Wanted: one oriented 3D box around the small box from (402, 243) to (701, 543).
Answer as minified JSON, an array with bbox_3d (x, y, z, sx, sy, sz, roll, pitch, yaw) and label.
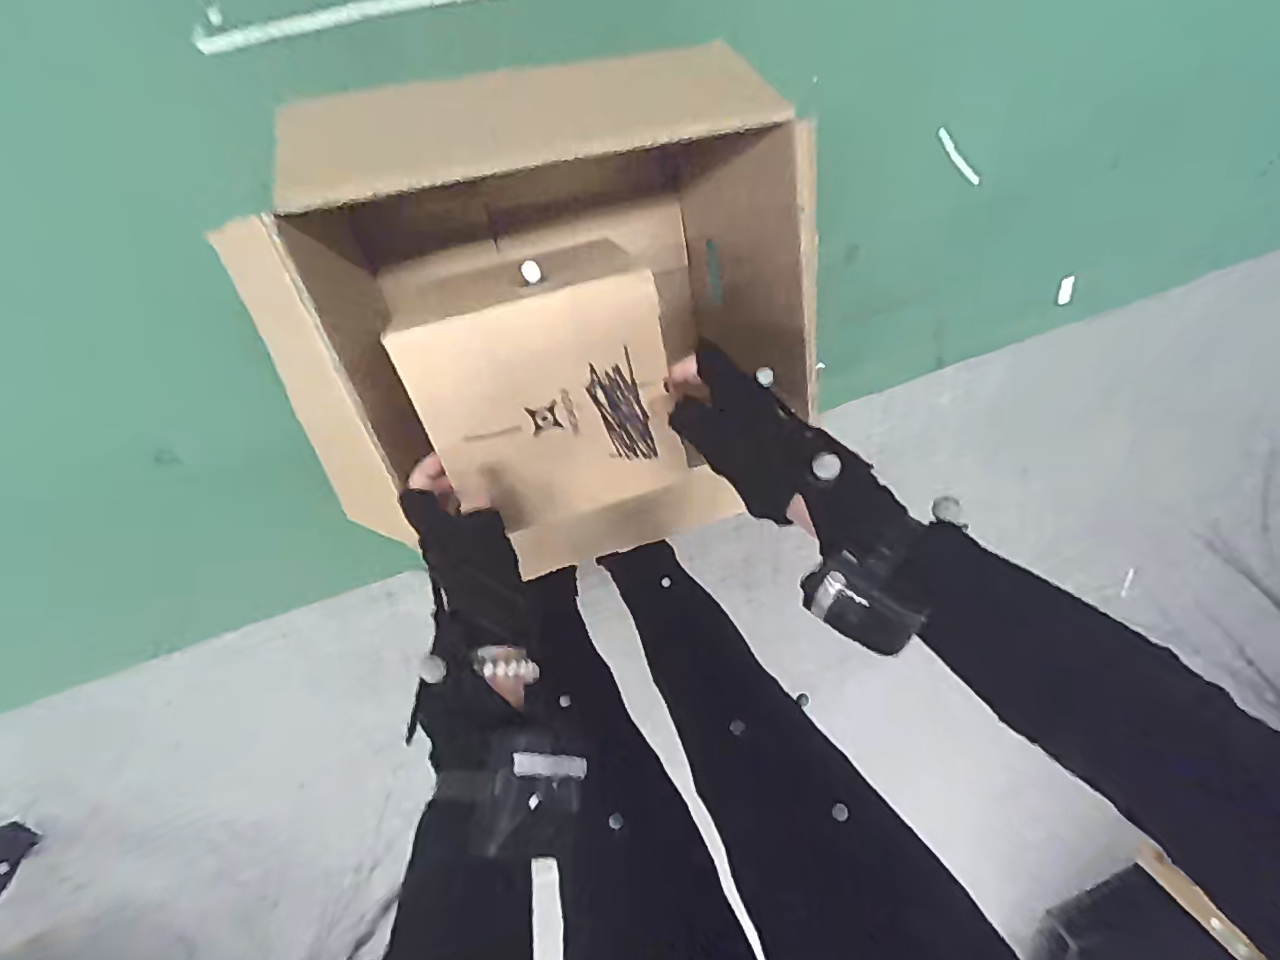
[{"bbox_3d":[-0.067,-0.082,0.440,0.179,0.176,0.168,-16,122,-5],"label":"small box"}]
